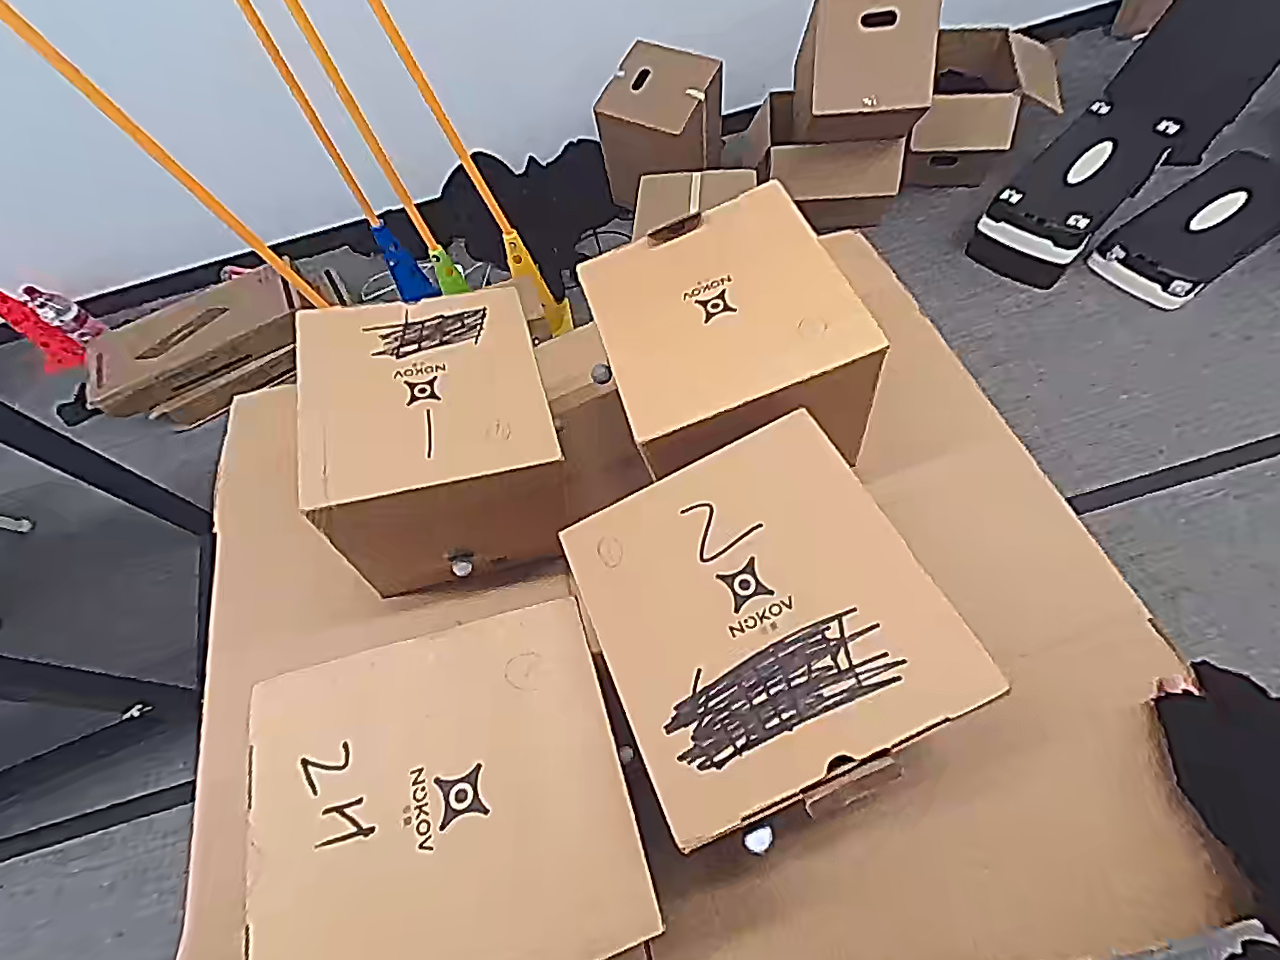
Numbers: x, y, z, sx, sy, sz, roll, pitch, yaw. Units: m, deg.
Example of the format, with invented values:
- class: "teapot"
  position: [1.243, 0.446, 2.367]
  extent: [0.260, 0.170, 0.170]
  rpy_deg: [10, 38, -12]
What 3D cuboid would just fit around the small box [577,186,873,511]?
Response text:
- class: "small box"
  position: [0.068, -0.090, 0.448]
  extent: [0.168, 0.176, 0.179]
  rpy_deg: [-21, 61, 5]
